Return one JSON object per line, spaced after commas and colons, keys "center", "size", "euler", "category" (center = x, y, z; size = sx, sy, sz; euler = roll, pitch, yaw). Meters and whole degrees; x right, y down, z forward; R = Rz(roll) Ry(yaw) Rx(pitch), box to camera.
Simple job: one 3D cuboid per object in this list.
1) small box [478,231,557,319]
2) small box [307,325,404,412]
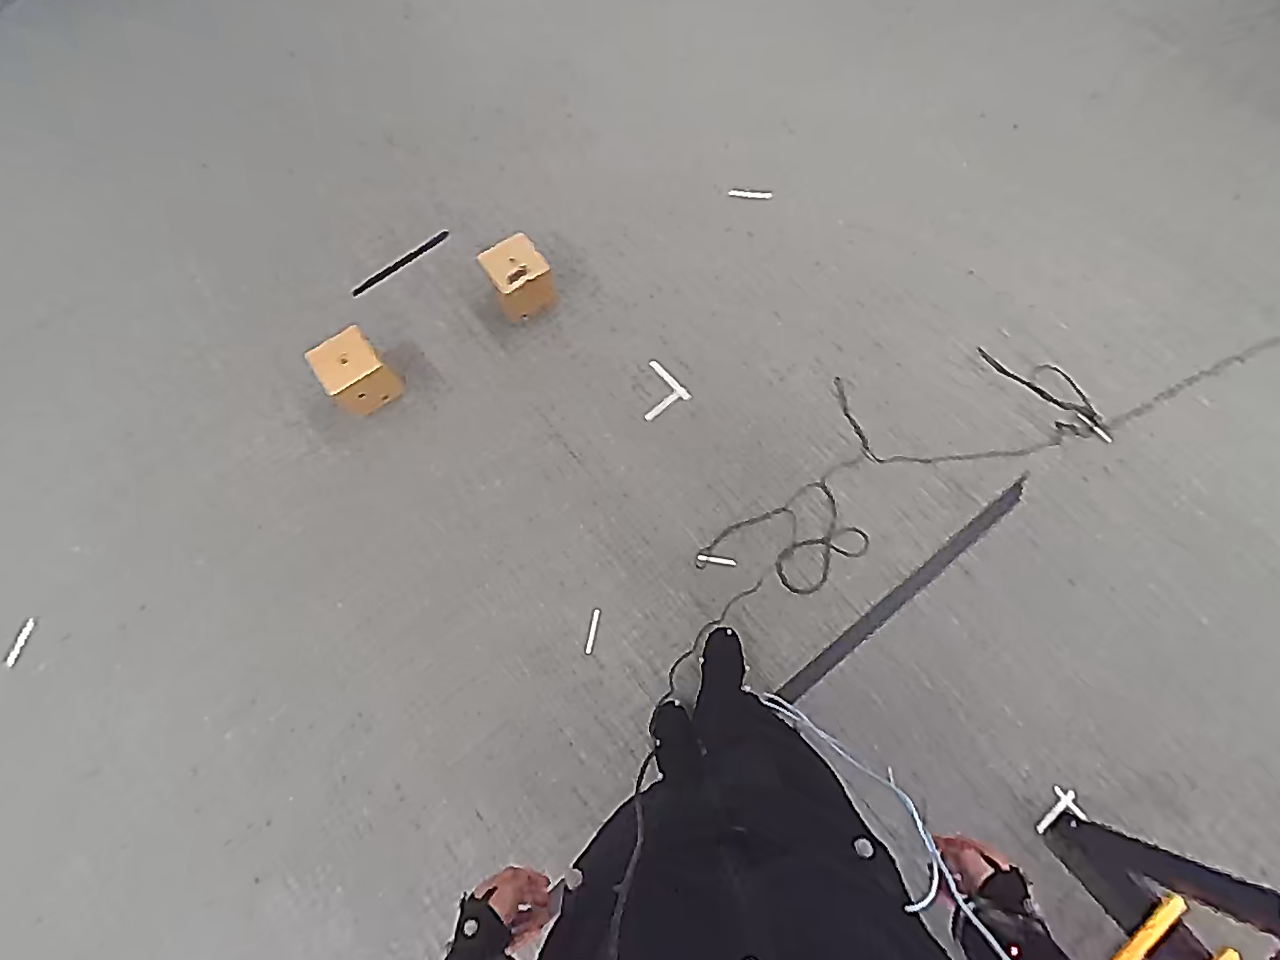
{"center": [-0.384, -0.644, 1.728], "size": [0.168, 0.176, 0.179], "euler": [-34, 74, -10], "category": "small box"}
{"center": [-0.854, -0.327, 1.642], "size": [0.168, 0.176, 0.179], "euler": [-36, 75, -9], "category": "small box"}
